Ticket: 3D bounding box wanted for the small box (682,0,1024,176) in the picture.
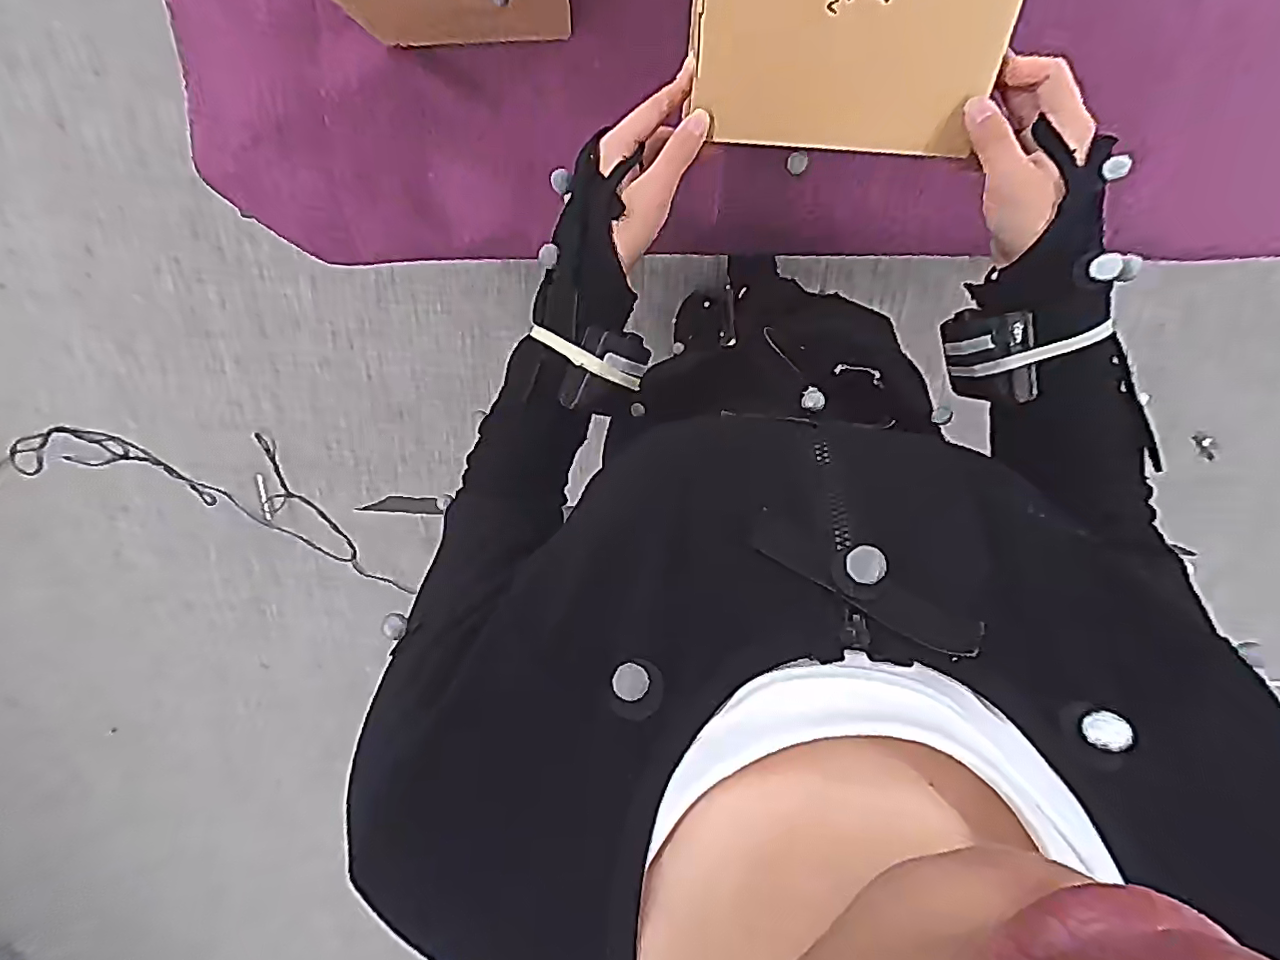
[{"bbox_3d":[0.123,-0.309,0.353,0.179,0.176,0.168,5,126,1],"label":"small box"}]
